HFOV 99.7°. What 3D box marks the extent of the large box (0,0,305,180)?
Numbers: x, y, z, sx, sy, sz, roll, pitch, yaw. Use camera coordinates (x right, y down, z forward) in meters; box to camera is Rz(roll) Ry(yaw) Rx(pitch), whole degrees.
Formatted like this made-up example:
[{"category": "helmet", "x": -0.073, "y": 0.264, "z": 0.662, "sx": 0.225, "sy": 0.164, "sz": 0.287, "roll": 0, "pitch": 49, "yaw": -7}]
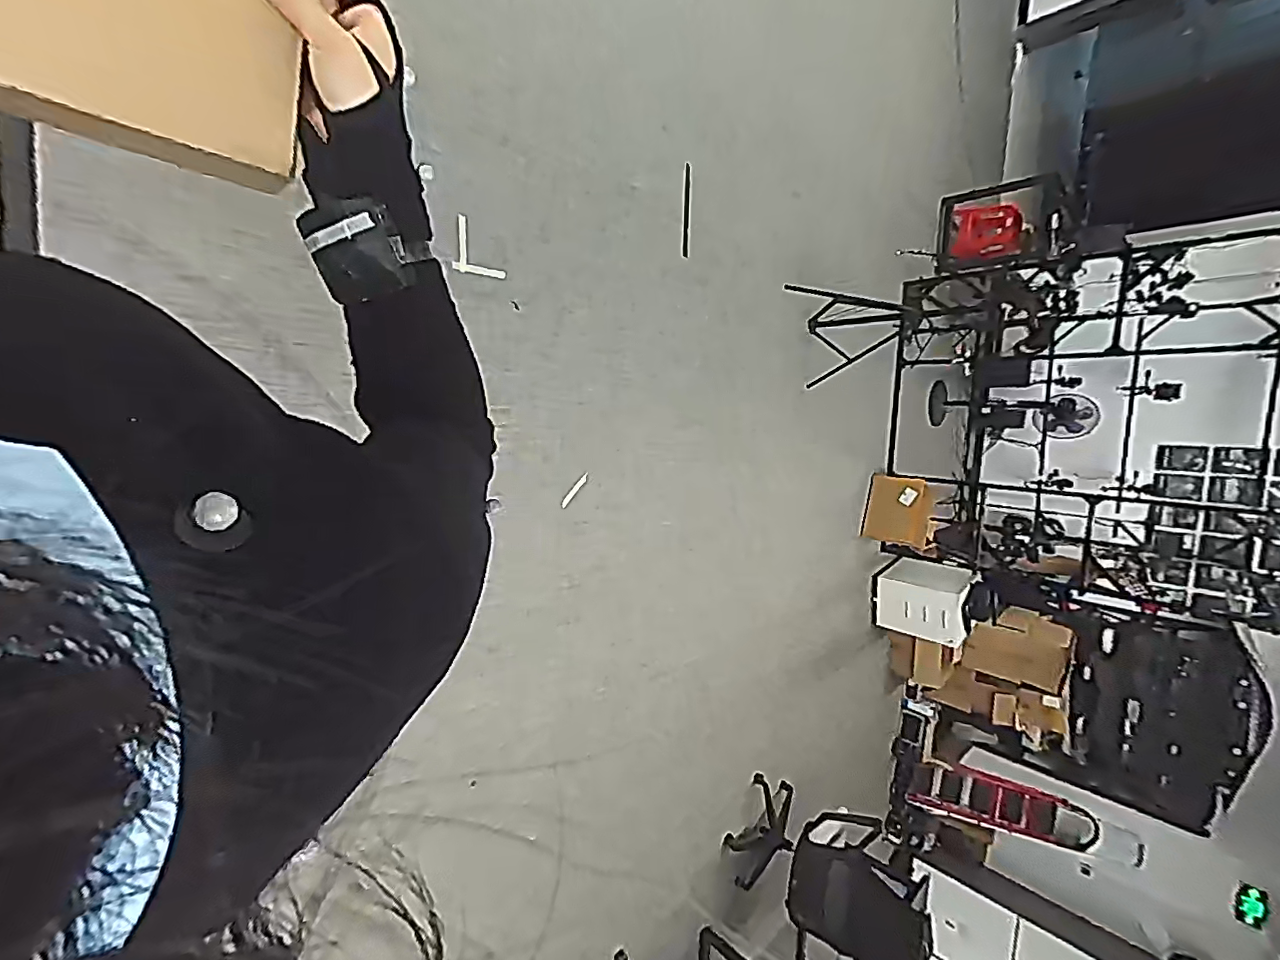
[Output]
[{"category": "large box", "x": -0.440, "y": -0.419, "z": 0.327, "sx": 0.408, "sy": 0.320, "sz": 0.320, "roll": 4, "pitch": 108, "yaw": -36}]
